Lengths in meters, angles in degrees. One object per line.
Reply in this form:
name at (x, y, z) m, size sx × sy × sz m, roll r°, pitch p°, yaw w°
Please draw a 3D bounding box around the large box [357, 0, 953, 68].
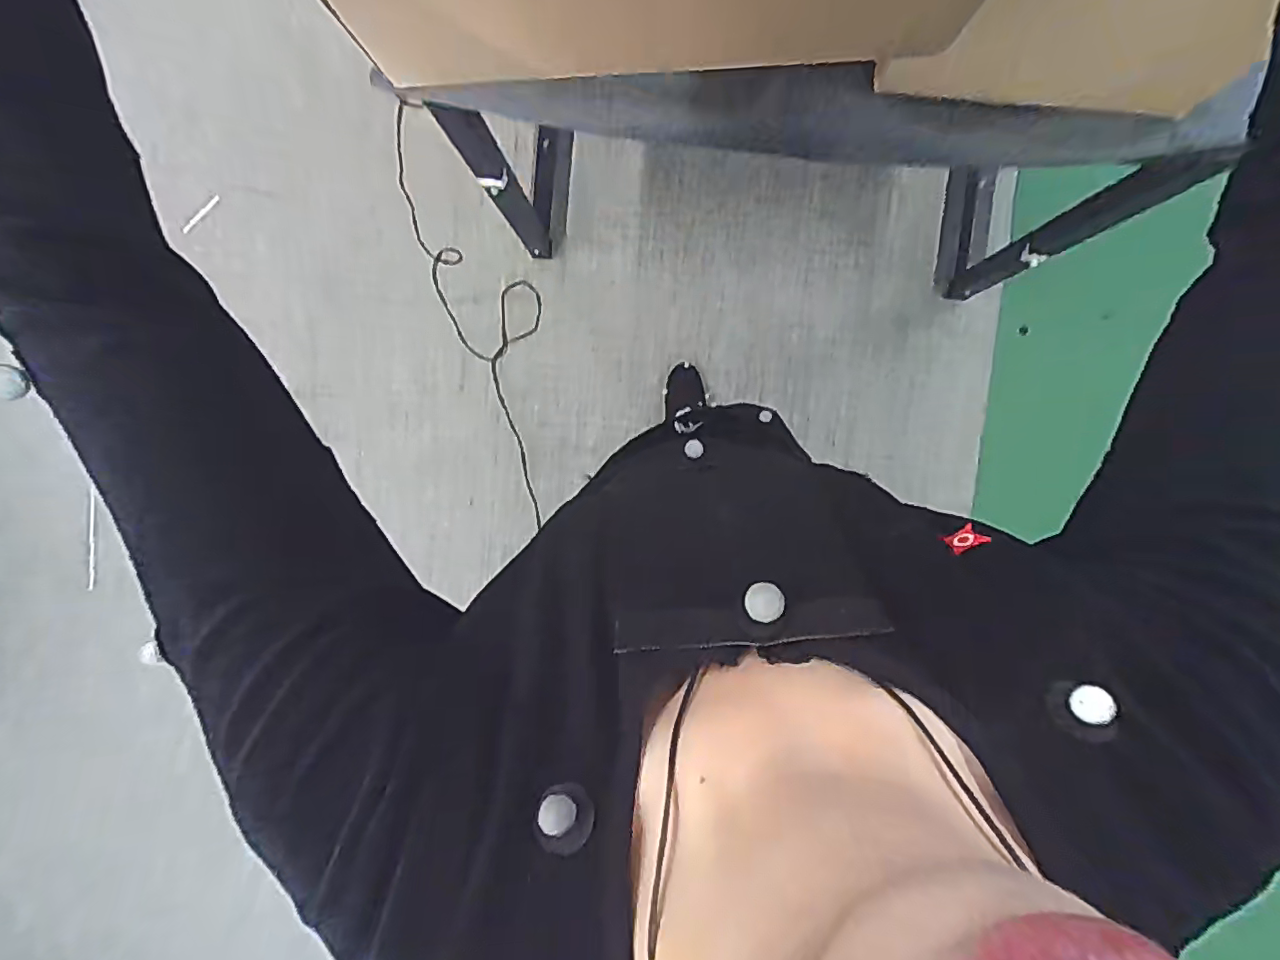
large box at (0.007, -0.447, 0.232) m, size 0.408 × 0.320 × 0.320 m, roll -3°, pitch 96°, yaw 2°
